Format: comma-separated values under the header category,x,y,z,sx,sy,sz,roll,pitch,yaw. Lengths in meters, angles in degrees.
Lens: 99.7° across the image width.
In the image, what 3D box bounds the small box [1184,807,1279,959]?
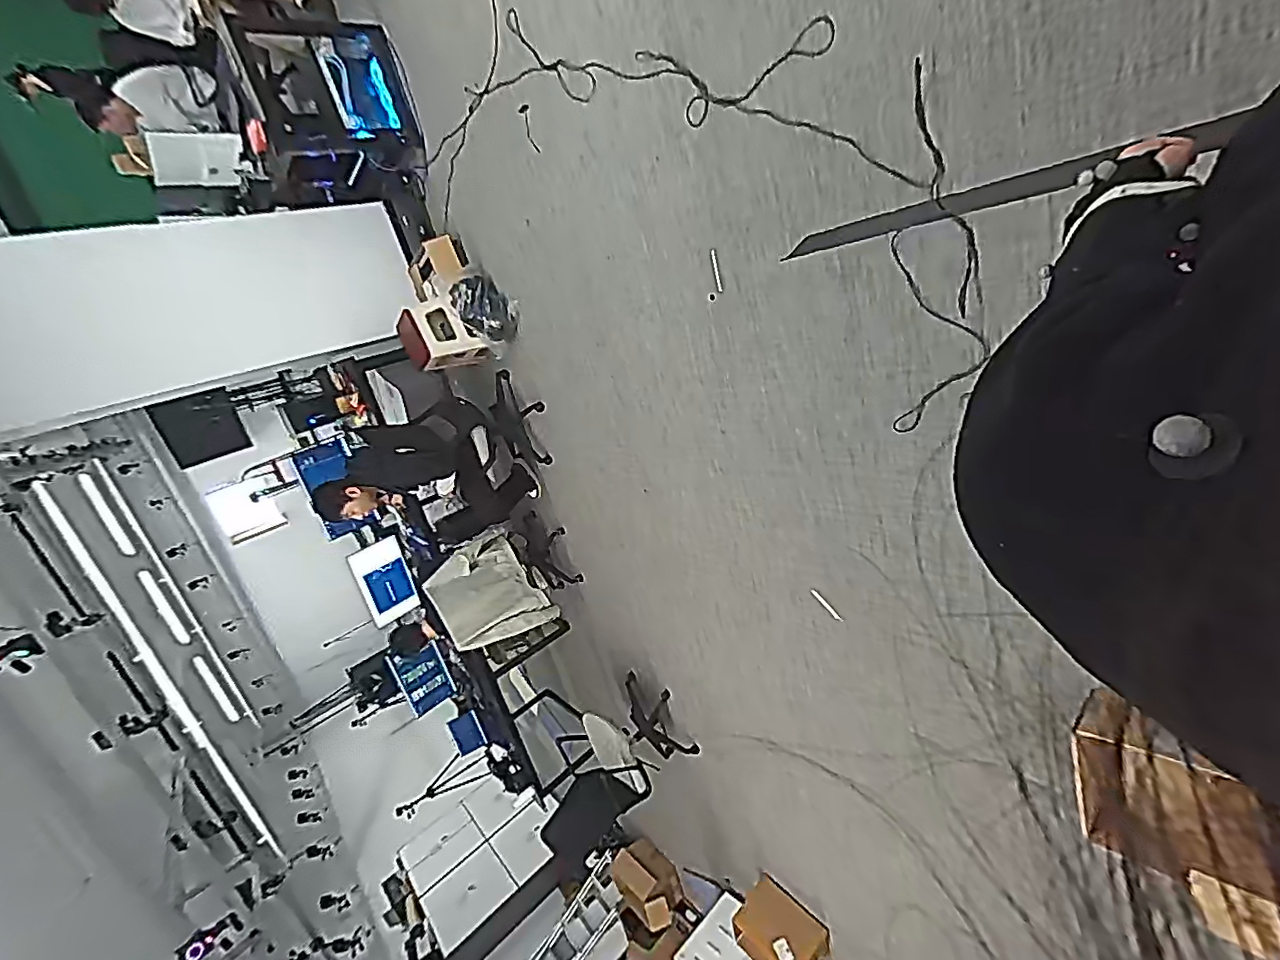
category,x,y,z,sx,sy,sz,roll,pitch,yaw
small box,1.273,0.844,1.134,0.168,0.176,0.179,1,115,52
